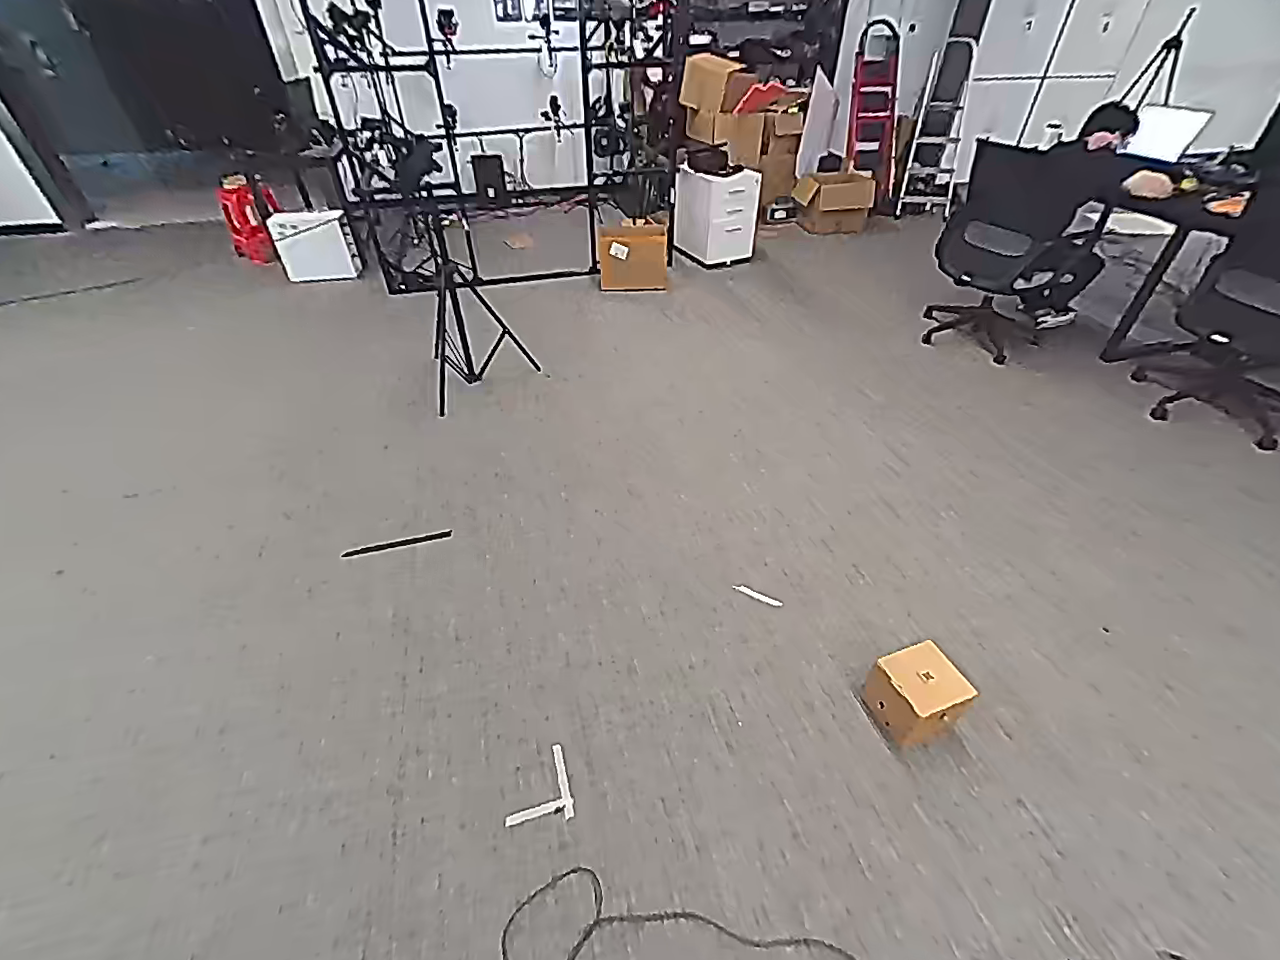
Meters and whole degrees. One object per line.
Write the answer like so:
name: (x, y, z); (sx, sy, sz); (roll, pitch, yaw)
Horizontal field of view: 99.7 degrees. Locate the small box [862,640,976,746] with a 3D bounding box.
small box: (0.707, 0.548, 1.393); (0.179, 0.176, 0.168); (-14, 42, -15)
